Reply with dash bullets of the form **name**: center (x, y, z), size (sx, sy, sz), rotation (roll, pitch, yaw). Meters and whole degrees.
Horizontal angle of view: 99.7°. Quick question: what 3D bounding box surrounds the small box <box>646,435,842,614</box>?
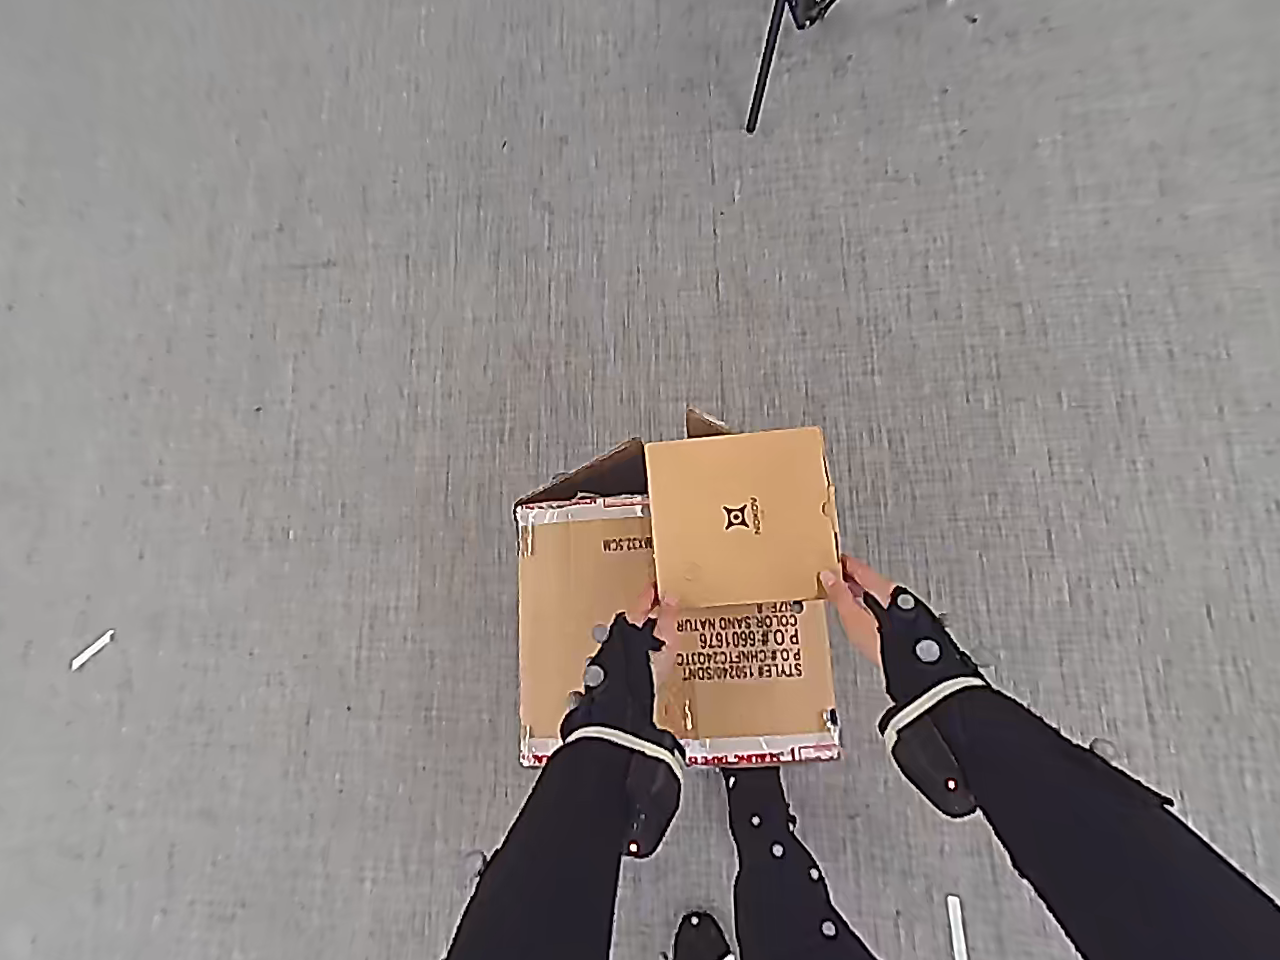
- **small box**: center (0.106, 0.056, 0.604), size (0.179, 0.176, 0.168), rotation (-6, 81, 4)
